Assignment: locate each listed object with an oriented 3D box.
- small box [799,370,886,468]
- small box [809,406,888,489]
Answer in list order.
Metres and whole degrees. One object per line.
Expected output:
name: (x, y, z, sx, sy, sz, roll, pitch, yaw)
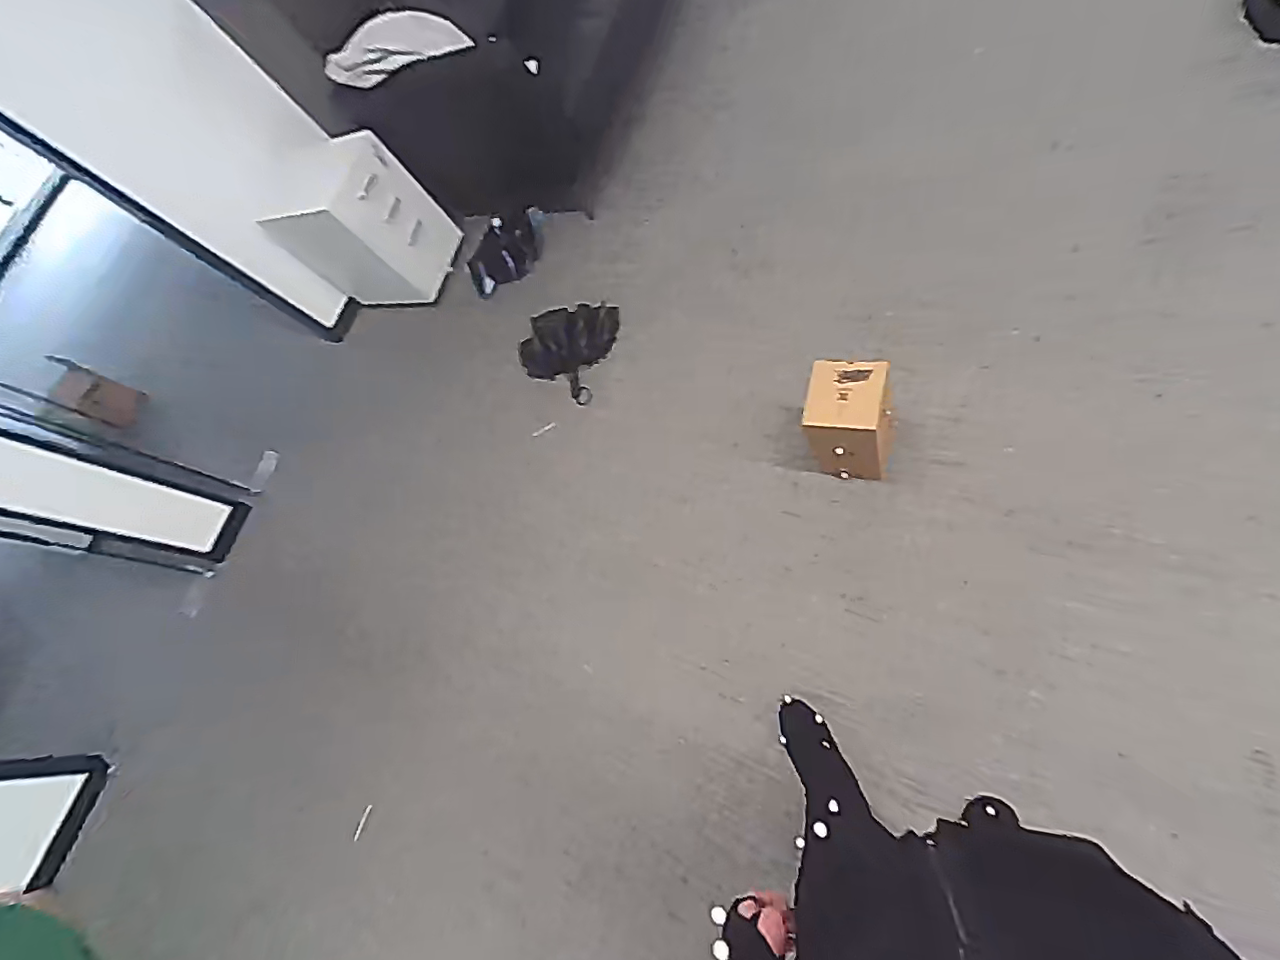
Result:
small box: (0.497, -0.147, 1.315, 0.168, 0.176, 0.179, 9, 73, 29)
small box: (0.566, -0.093, 1.455, 0.168, 0.176, 0.179, 9, 74, 29)
